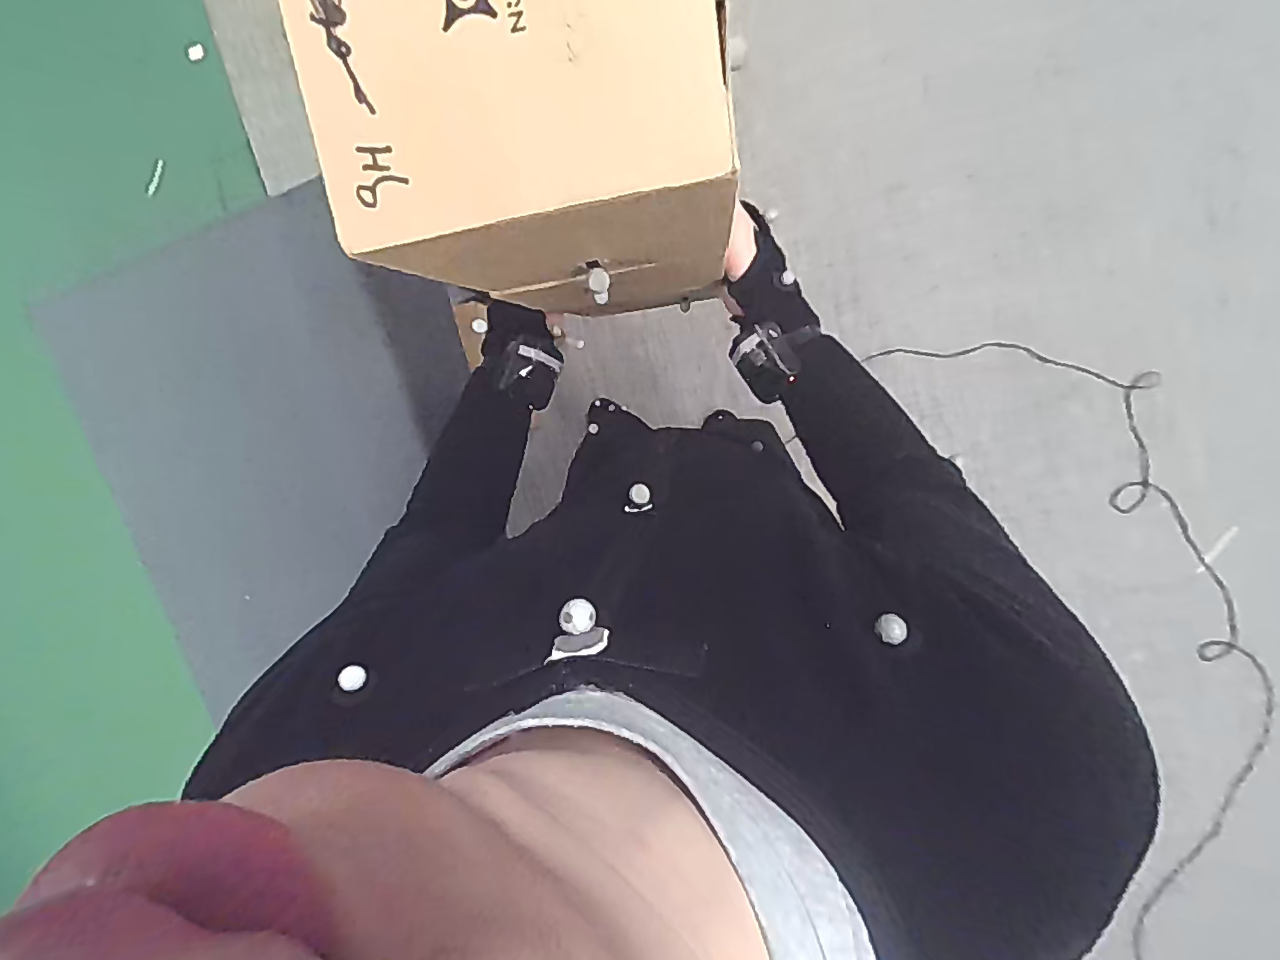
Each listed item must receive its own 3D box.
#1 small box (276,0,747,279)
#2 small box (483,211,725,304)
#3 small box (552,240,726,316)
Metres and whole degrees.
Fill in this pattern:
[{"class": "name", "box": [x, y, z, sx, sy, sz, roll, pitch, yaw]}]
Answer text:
[{"class": "small box", "box": [-0.047, -0.209, 0.276, 0.179, 0.176, 0.168, -6, 102, 8]}, {"class": "small box", "box": [-0.027, -0.244, 0.435, 0.179, 0.176, 0.168, -7, 102, 8]}, {"class": "small box", "box": [-0.002, -0.279, 0.593, 0.179, 0.176, 0.168, -6, 101, 11]}]
